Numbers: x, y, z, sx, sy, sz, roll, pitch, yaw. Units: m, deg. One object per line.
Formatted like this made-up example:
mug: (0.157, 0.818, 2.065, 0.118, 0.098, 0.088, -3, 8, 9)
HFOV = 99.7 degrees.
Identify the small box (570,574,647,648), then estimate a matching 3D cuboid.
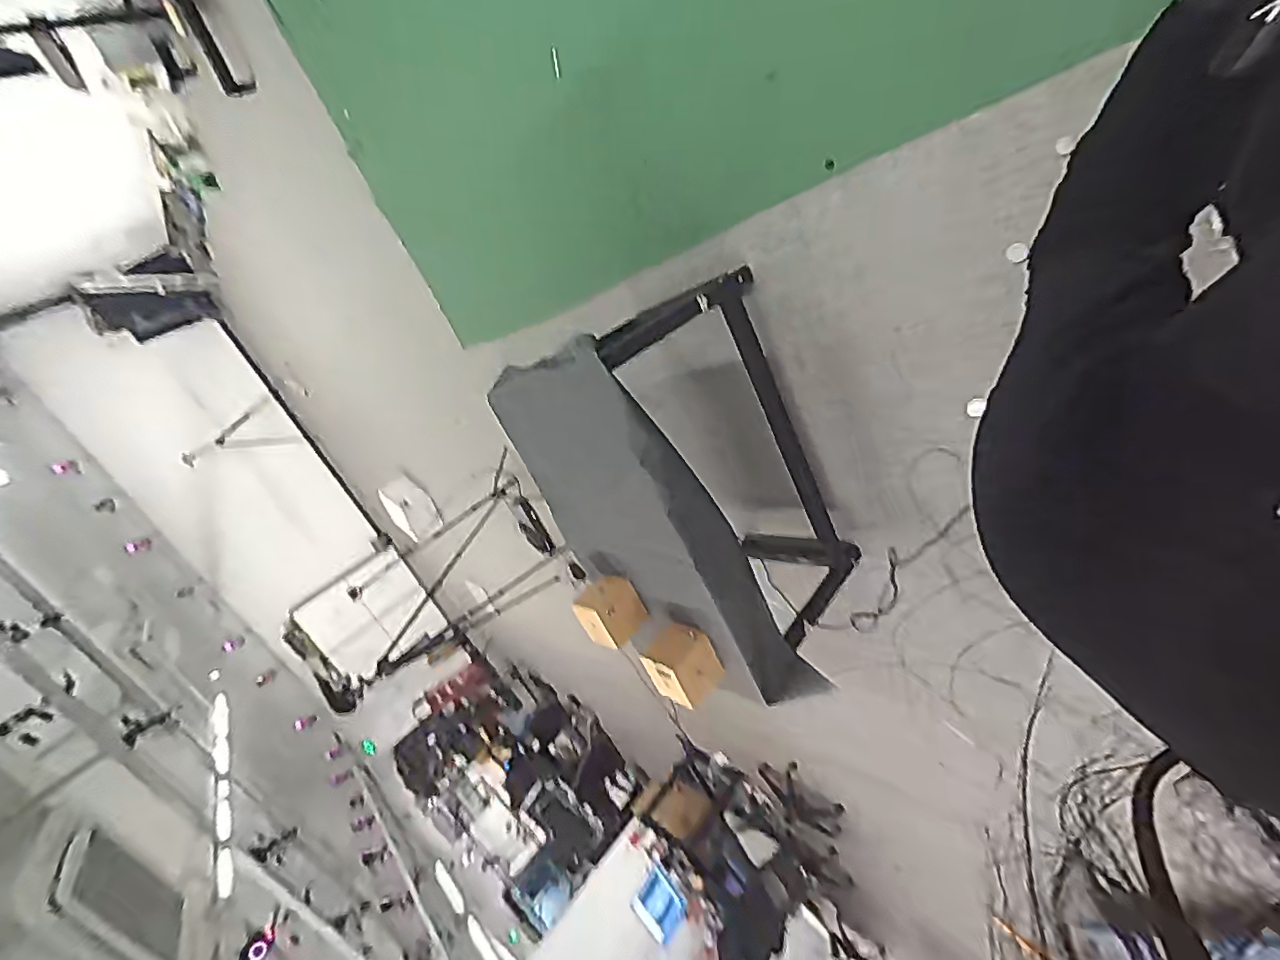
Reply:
small box: (-0.108, 0.453, 1.894, 0.168, 0.176, 0.179, -1, 122, 51)

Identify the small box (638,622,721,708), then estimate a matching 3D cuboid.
small box: (0.131, 0.588, 1.742, 0.168, 0.176, 0.179, 3, 126, 50)
